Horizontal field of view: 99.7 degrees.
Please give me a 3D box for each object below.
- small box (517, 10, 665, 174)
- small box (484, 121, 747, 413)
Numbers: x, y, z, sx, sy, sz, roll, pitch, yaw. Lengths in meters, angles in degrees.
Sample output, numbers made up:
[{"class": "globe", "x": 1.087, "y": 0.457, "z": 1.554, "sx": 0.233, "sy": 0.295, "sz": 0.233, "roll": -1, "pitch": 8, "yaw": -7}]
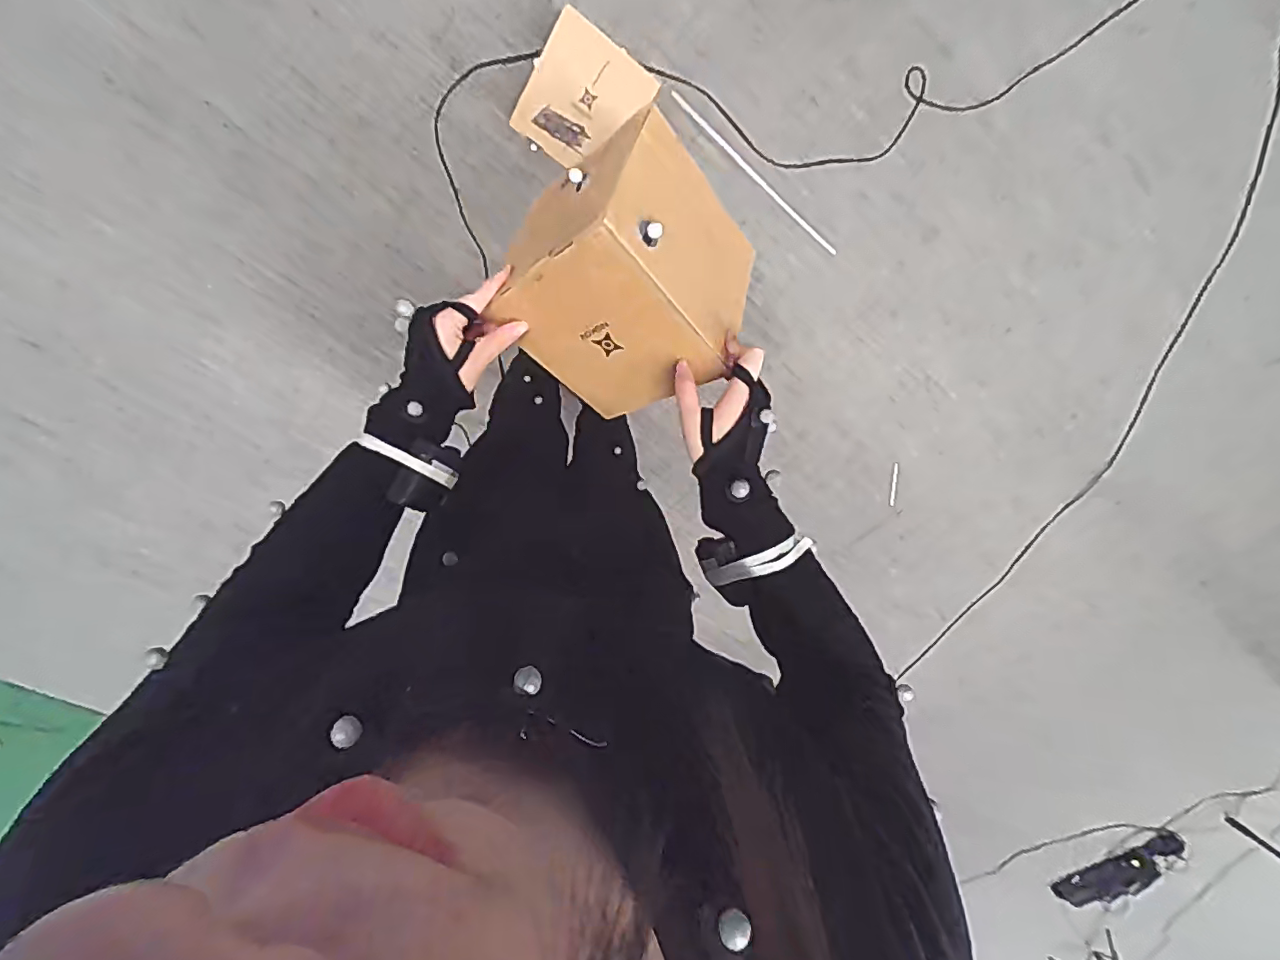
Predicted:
[{"class": "small box", "x": -0.077, "y": -0.600, "z": 0.886, "sx": 0.168, "sy": 0.176, "sz": 0.179, "roll": 30, "pitch": 113, "yaw": -18}, {"class": "small box", "x": -0.013, "y": -0.199, "z": 0.536, "sx": 0.168, "sy": 0.176, "sz": 0.179, "roll": -14, "pitch": 138, "yaw": 42}]
